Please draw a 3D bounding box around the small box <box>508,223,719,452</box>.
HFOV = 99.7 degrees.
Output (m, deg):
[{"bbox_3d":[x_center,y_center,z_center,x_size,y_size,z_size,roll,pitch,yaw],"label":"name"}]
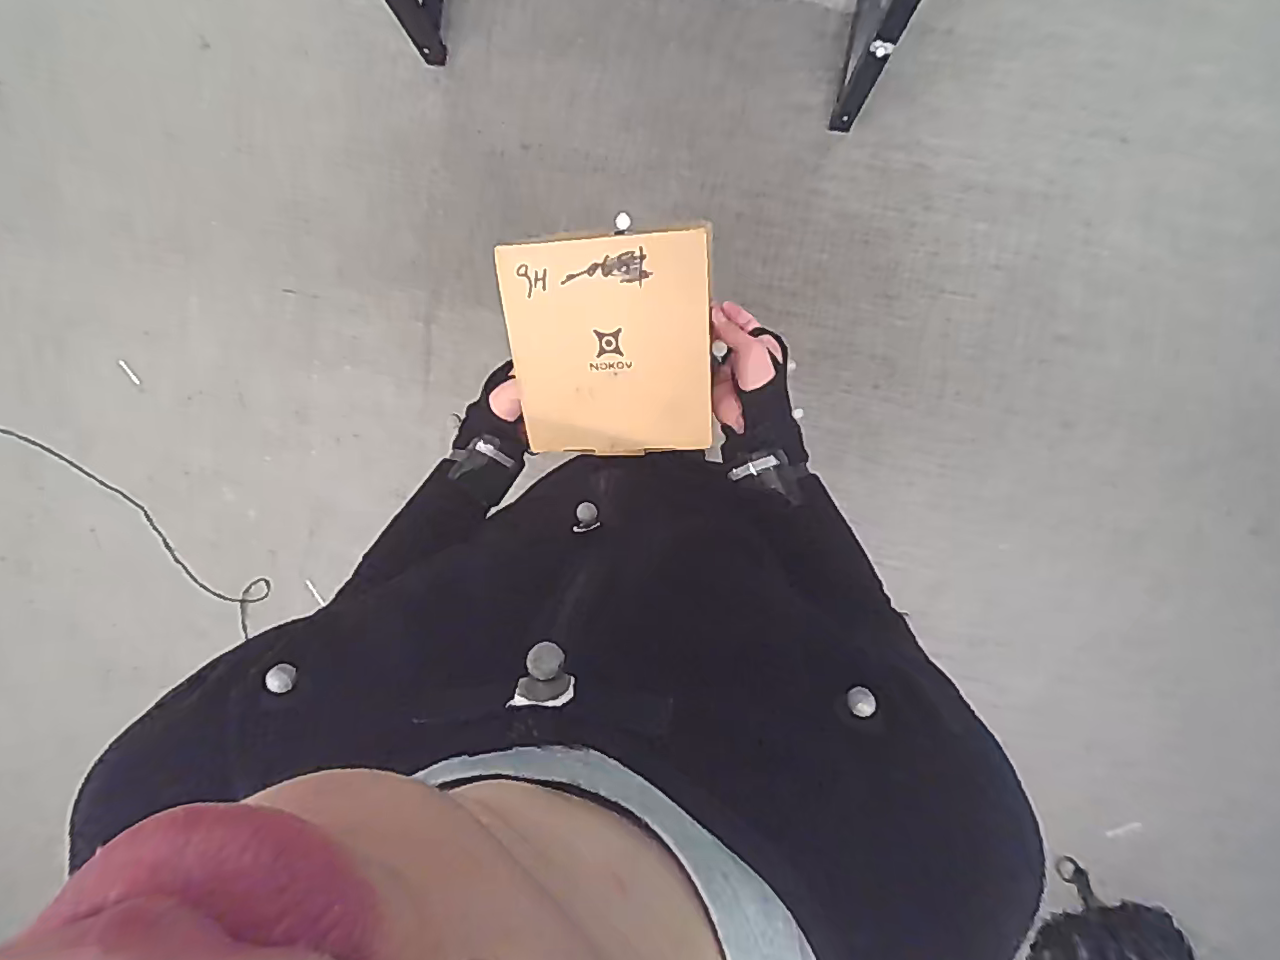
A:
[{"bbox_3d":[-0.008,-0.142,0.523,0.168,0.176,0.179,-1,118,8],"label":"small box"}]
